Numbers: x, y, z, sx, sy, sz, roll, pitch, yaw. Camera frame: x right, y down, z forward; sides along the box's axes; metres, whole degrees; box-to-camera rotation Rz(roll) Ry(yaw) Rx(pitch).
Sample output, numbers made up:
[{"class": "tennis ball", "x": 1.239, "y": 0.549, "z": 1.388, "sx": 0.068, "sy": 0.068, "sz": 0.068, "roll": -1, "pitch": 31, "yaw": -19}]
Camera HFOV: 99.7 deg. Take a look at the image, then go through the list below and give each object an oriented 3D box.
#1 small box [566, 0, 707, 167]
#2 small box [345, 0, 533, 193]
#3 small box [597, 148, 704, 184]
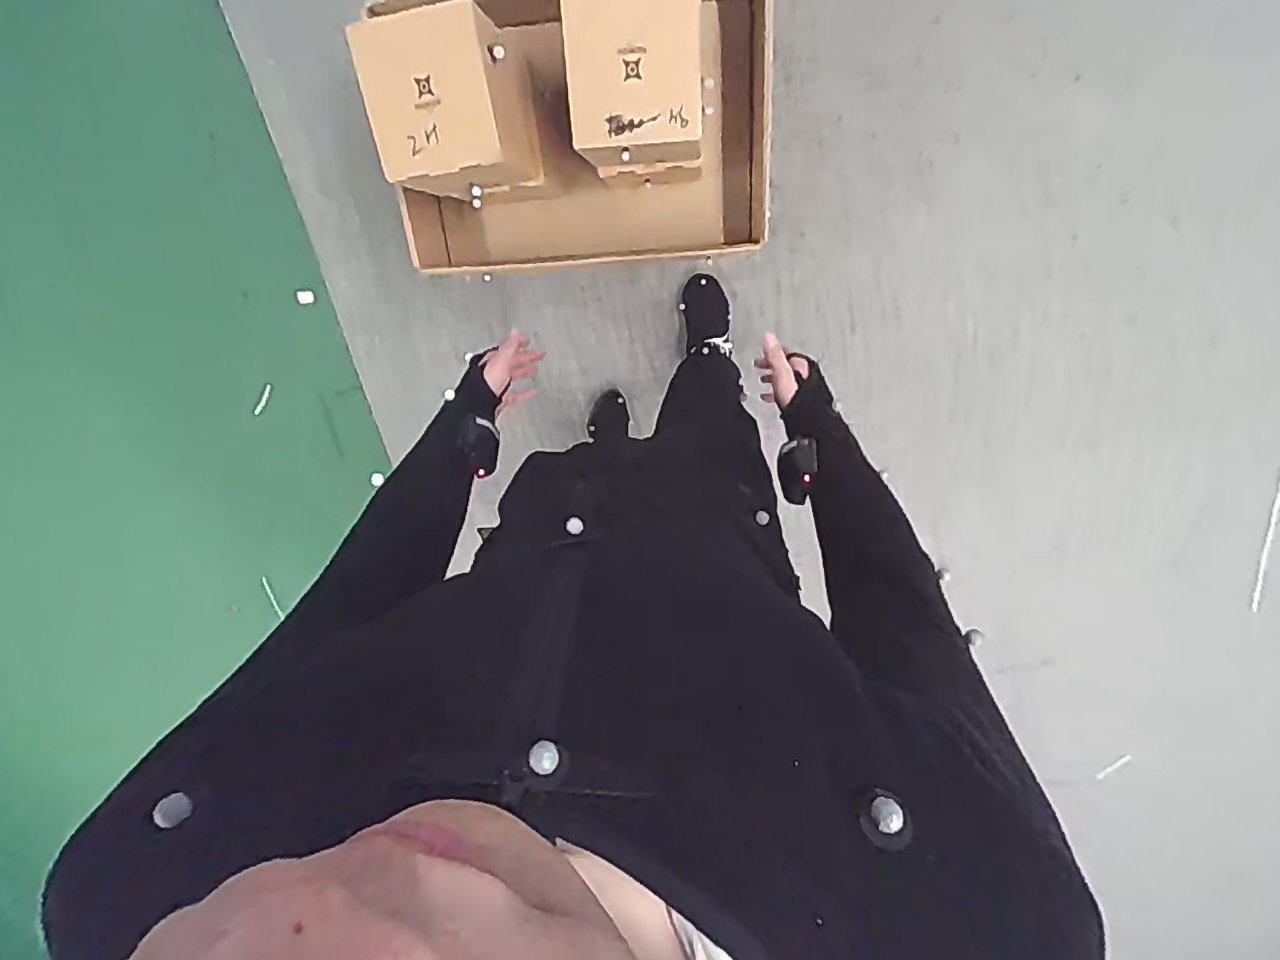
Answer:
[{"class": "small box", "x": 0.001, "y": -0.529, "z": 0.718, "sx": 0.168, "sy": 0.176, "sz": 0.179, "roll": 0, "pitch": 114, "yaw": 5}, {"class": "small box", "x": -0.260, "y": -0.511, "z": 0.746, "sx": 0.168, "sy": 0.176, "sz": 0.179, "roll": -5, "pitch": 113, "yaw": 7}, {"class": "small box", "x": 0.016, "y": -0.588, "z": 0.871, "sx": 0.168, "sy": 0.176, "sz": 0.179, "roll": -2, "pitch": 115, "yaw": 6}]
